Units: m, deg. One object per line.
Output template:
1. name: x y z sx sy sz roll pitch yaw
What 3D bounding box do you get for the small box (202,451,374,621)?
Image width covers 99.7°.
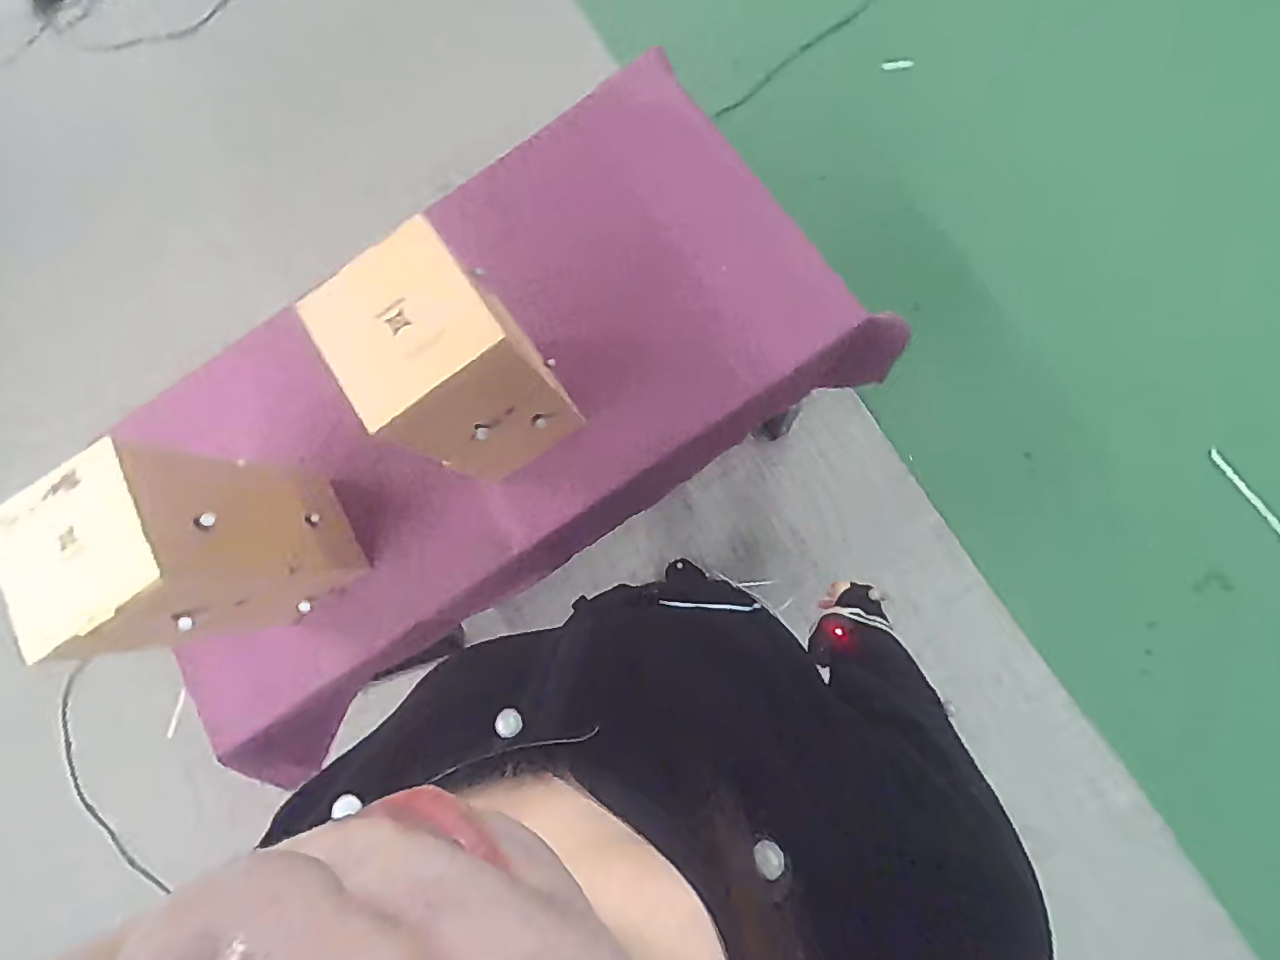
1. small box: -0.539 0.084 0.797 0.168 0.176 0.179 -33 79 2

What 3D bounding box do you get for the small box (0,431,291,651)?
1. small box: -0.560 0.070 0.635 0.168 0.176 0.179 -32 80 2

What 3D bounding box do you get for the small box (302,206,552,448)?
1. small box: -0.230 -0.159 0.623 0.168 0.176 0.179 -35 79 2

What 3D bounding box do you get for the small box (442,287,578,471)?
1. small box: -0.206 -0.134 0.783 0.179 0.176 0.168 -34 78 2
